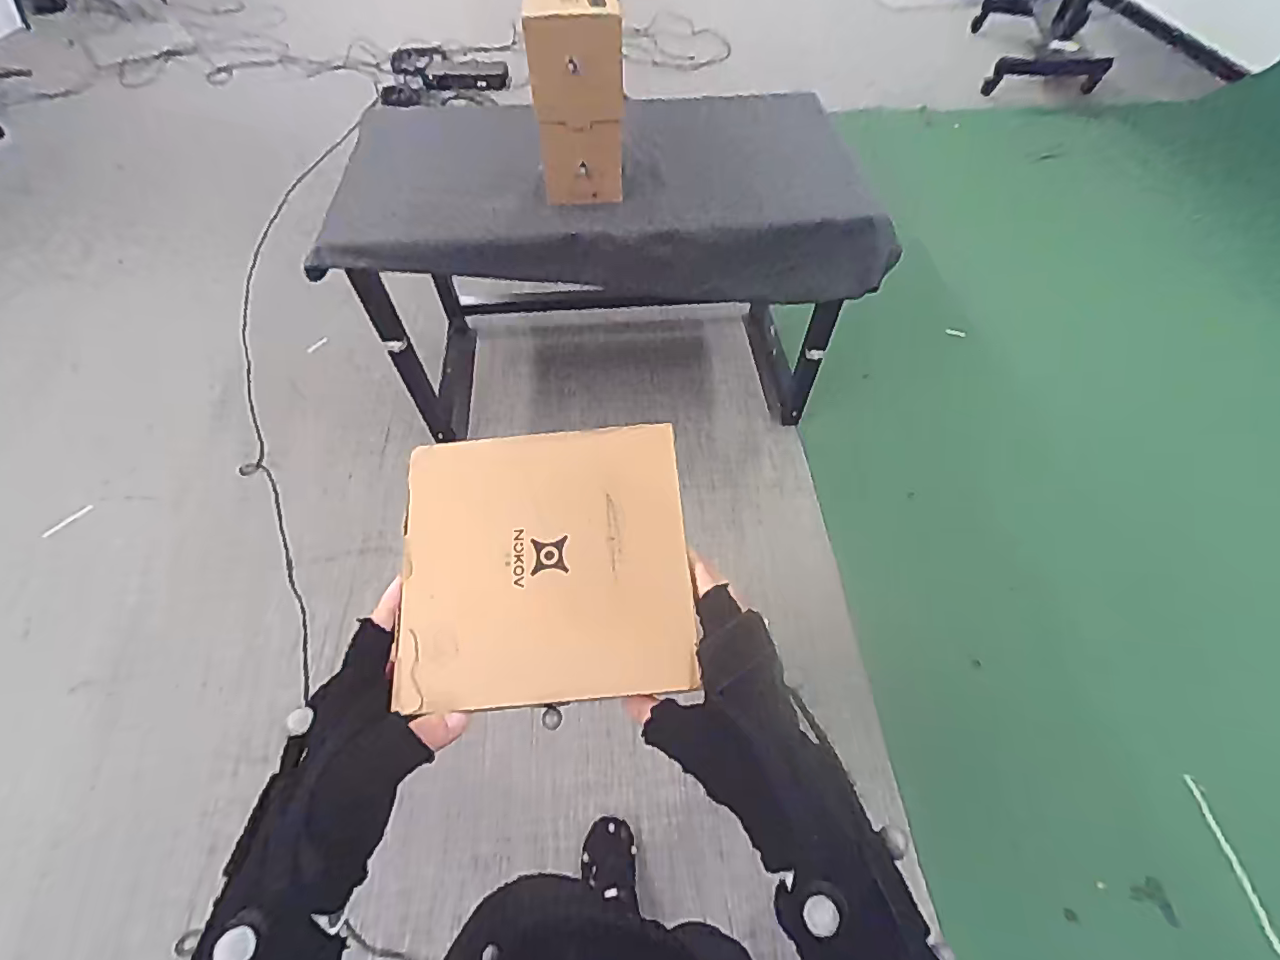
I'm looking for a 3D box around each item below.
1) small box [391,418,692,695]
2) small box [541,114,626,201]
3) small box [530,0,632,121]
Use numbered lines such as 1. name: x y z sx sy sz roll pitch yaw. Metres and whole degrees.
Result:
1. small box: -0.059 0.069 0.408 0.179 0.176 0.168 -5 70 -1
2. small box: -0.118 -0.729 1.173 0.168 0.176 0.179 -3 57 -2
3. small box: -0.111 -0.812 1.031 0.179 0.176 0.168 -5 57 -4
